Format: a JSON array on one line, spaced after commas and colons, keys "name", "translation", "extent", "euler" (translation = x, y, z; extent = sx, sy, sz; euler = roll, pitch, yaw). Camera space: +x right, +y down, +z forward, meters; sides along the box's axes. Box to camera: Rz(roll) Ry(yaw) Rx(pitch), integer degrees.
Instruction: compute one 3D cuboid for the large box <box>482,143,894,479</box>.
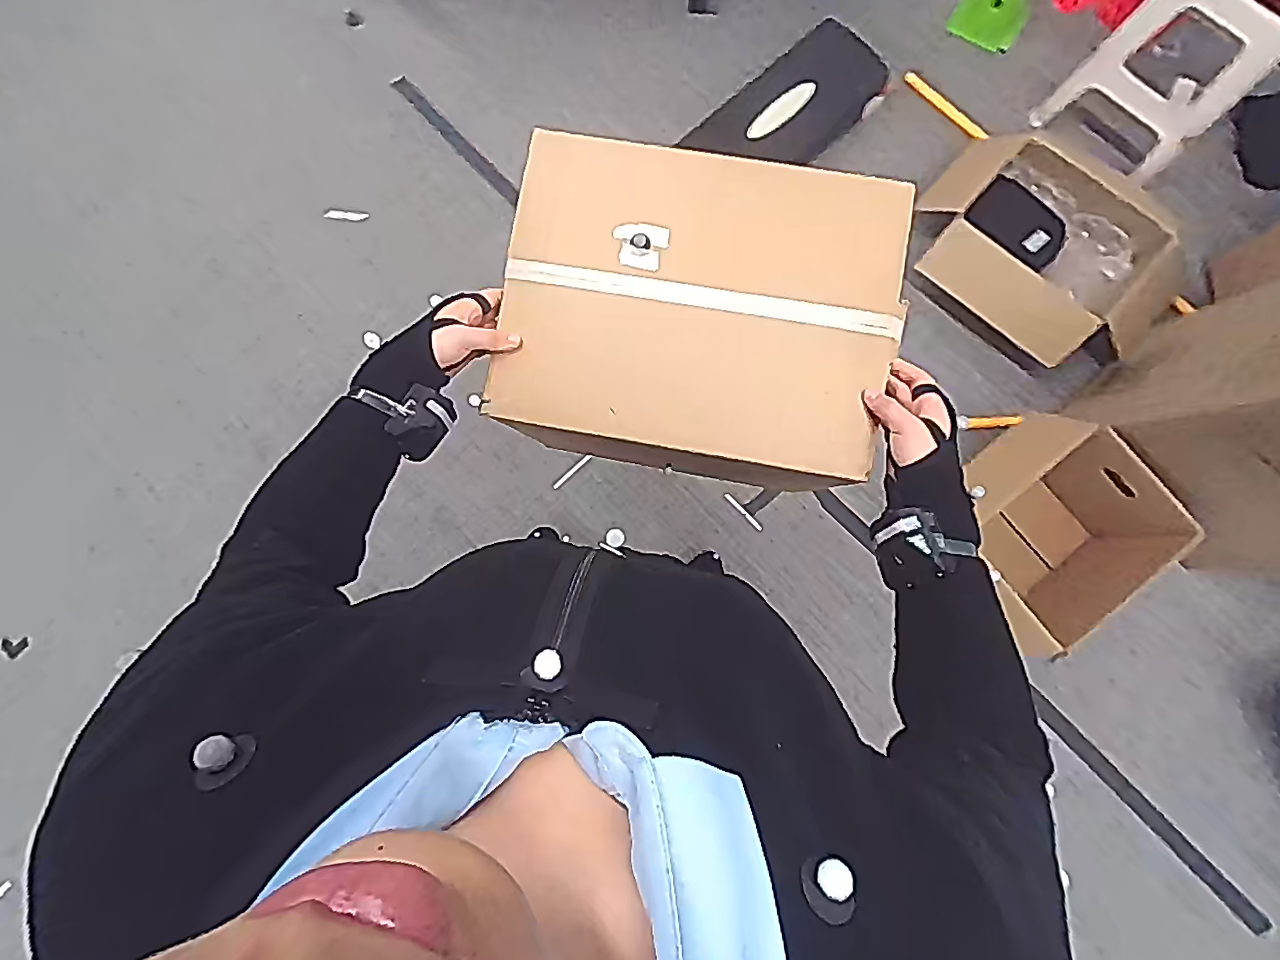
[{"name": "large box", "translation": [0.060, -0.182, 0.716], "extent": [0.408, 0.320, 0.320], "euler": [9, 87, 4]}]
